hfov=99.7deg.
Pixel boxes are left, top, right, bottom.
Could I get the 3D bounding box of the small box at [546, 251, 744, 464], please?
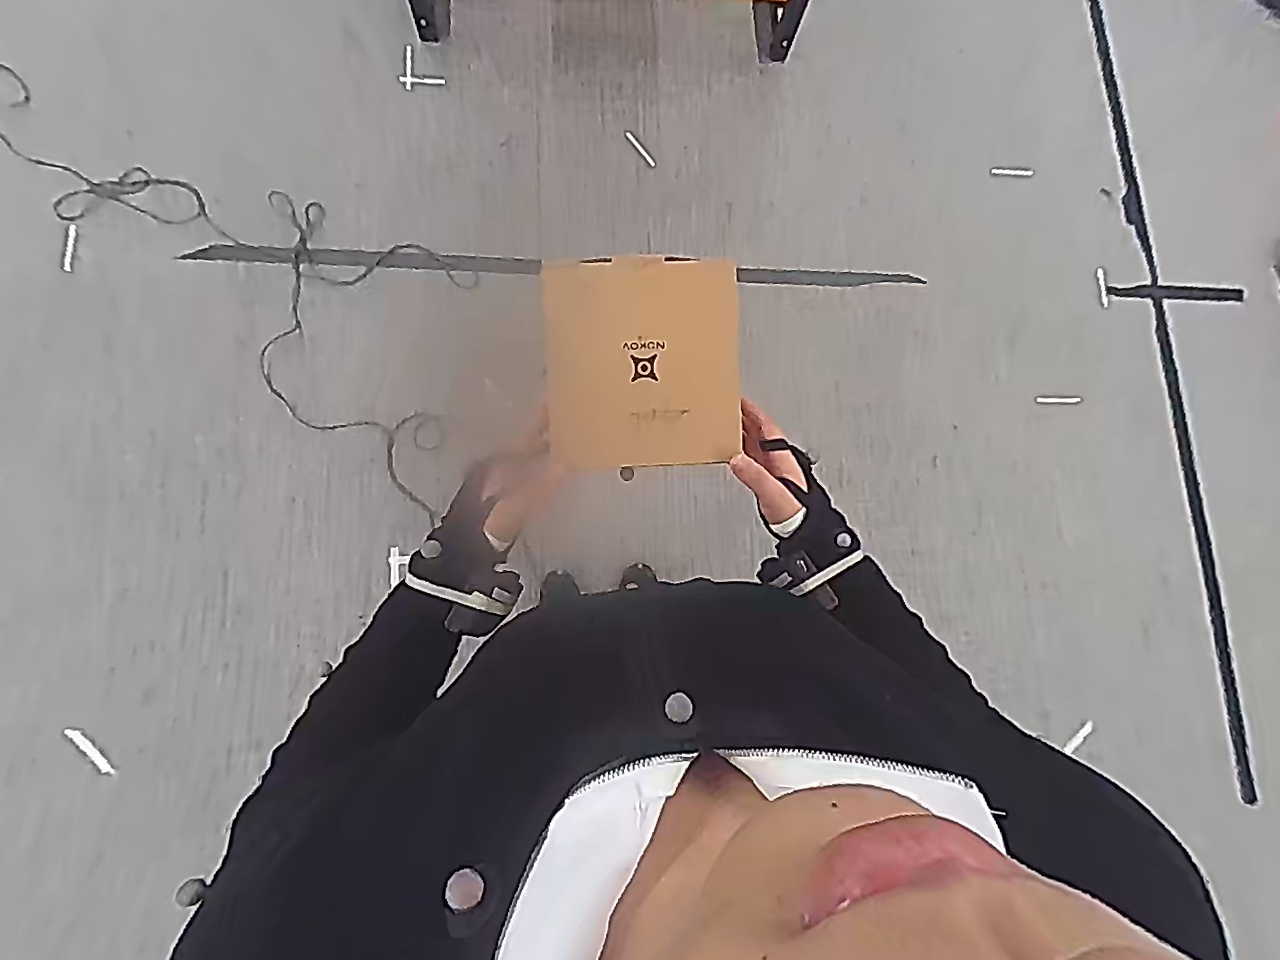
[{"bbox_3d":[-0.001,-0.106,0.533,0.168,0.176,0.179,-3,93,-4],"label":"small box"}]
